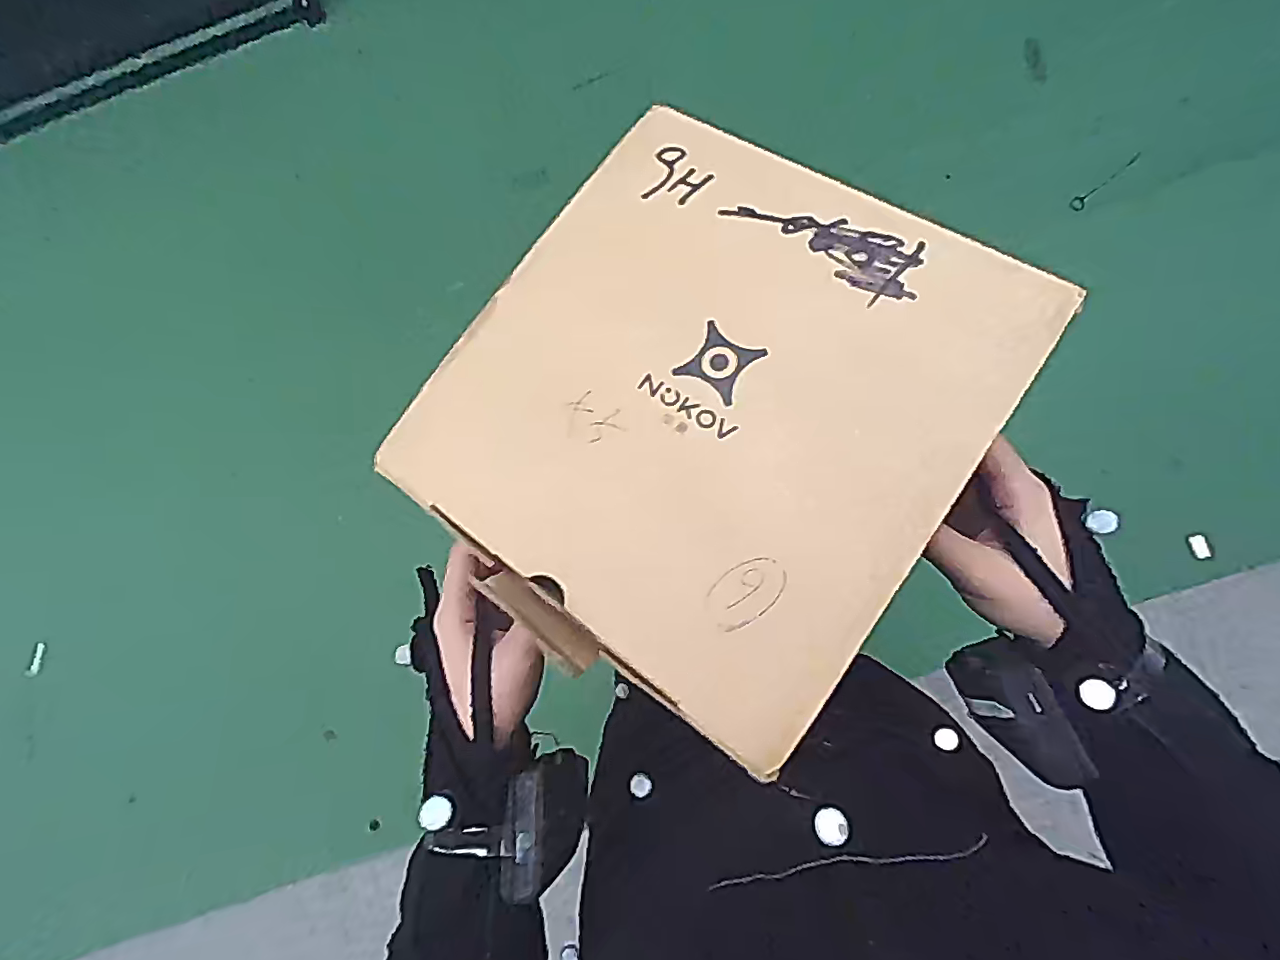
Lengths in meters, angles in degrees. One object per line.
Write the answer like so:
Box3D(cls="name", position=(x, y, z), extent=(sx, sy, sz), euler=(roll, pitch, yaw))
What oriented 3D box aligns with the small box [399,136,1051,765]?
Box3D(cls="small box", position=(0.035, -0.008, 0.265), extent=(0.168, 0.176, 0.179), euler=(35, 84, 15))
